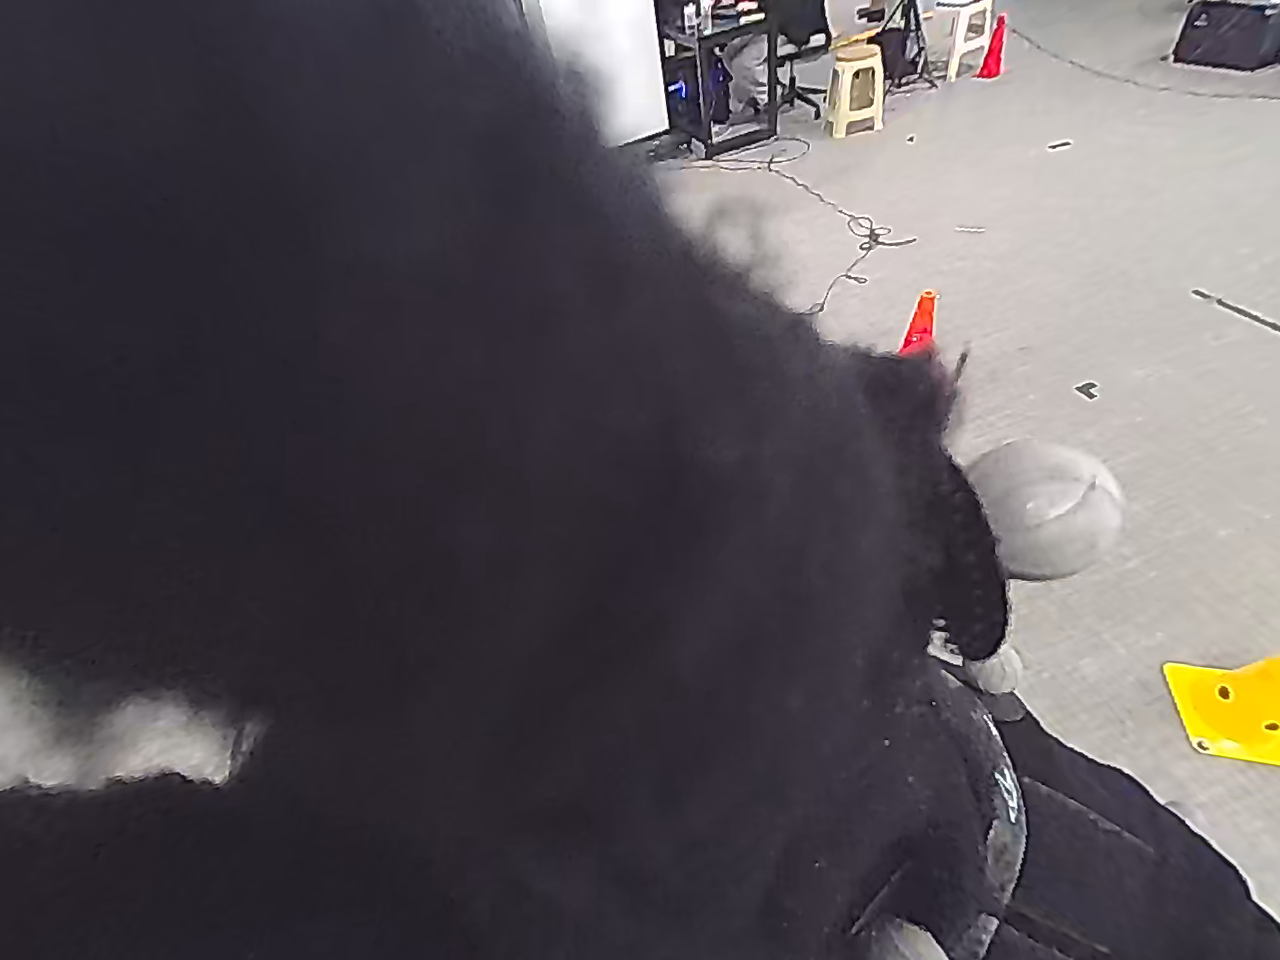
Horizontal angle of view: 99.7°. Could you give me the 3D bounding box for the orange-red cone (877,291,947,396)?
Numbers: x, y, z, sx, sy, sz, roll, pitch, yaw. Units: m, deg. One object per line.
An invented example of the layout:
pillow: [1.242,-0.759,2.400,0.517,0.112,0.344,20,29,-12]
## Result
orange-red cone: [1.008,-0.511,1.948,0.198,0.360,0.199,-15,47,1]
